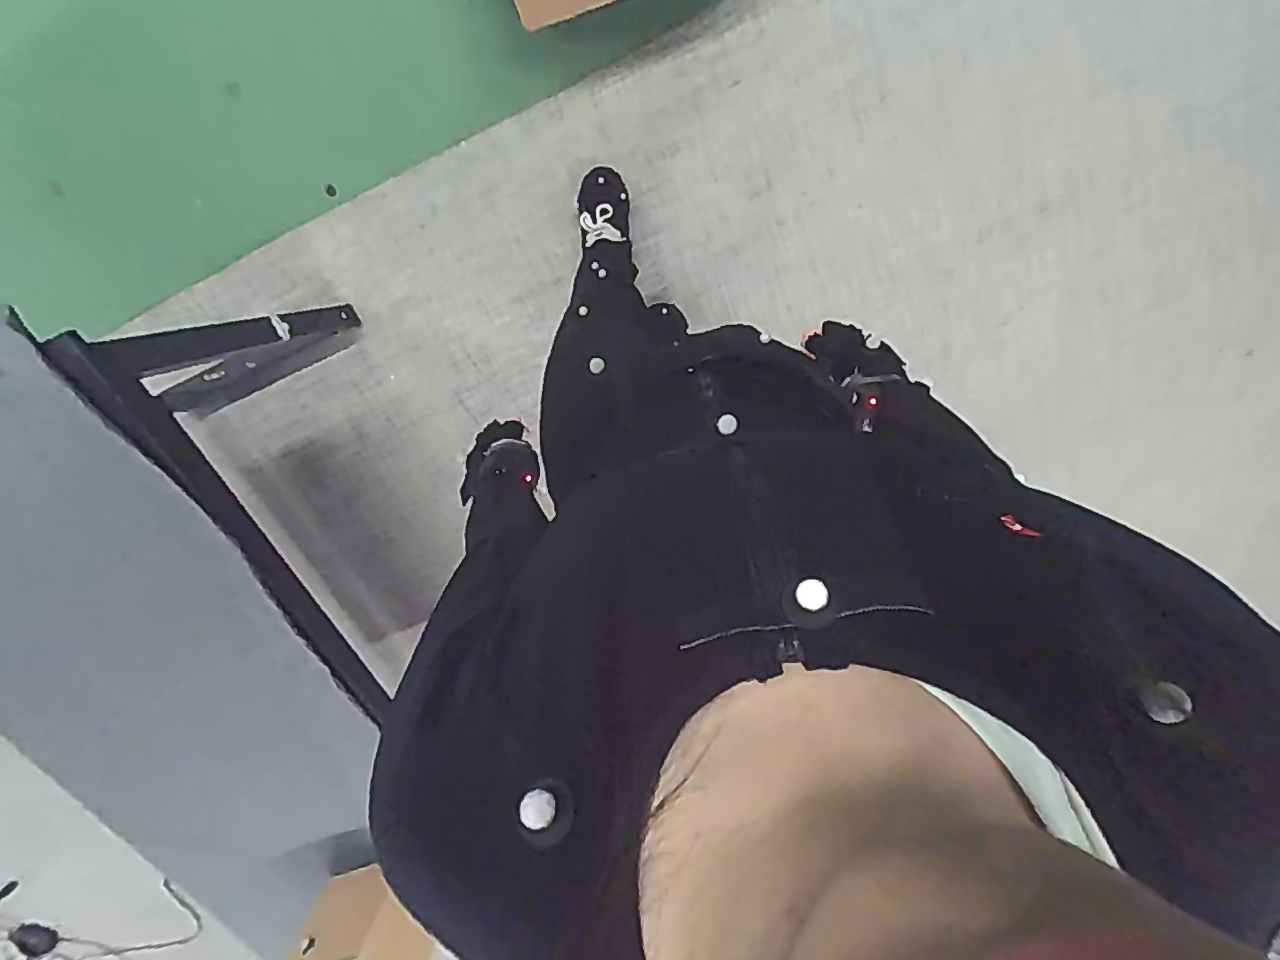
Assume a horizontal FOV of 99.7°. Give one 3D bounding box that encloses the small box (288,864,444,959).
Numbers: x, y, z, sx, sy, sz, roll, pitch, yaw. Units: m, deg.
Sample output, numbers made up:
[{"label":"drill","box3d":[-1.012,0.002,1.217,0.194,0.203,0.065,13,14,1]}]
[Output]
[{"label":"small box","box3d":[-0.492,0.843,0.976,0.179,0.176,0.168,-23,109,10]}]
